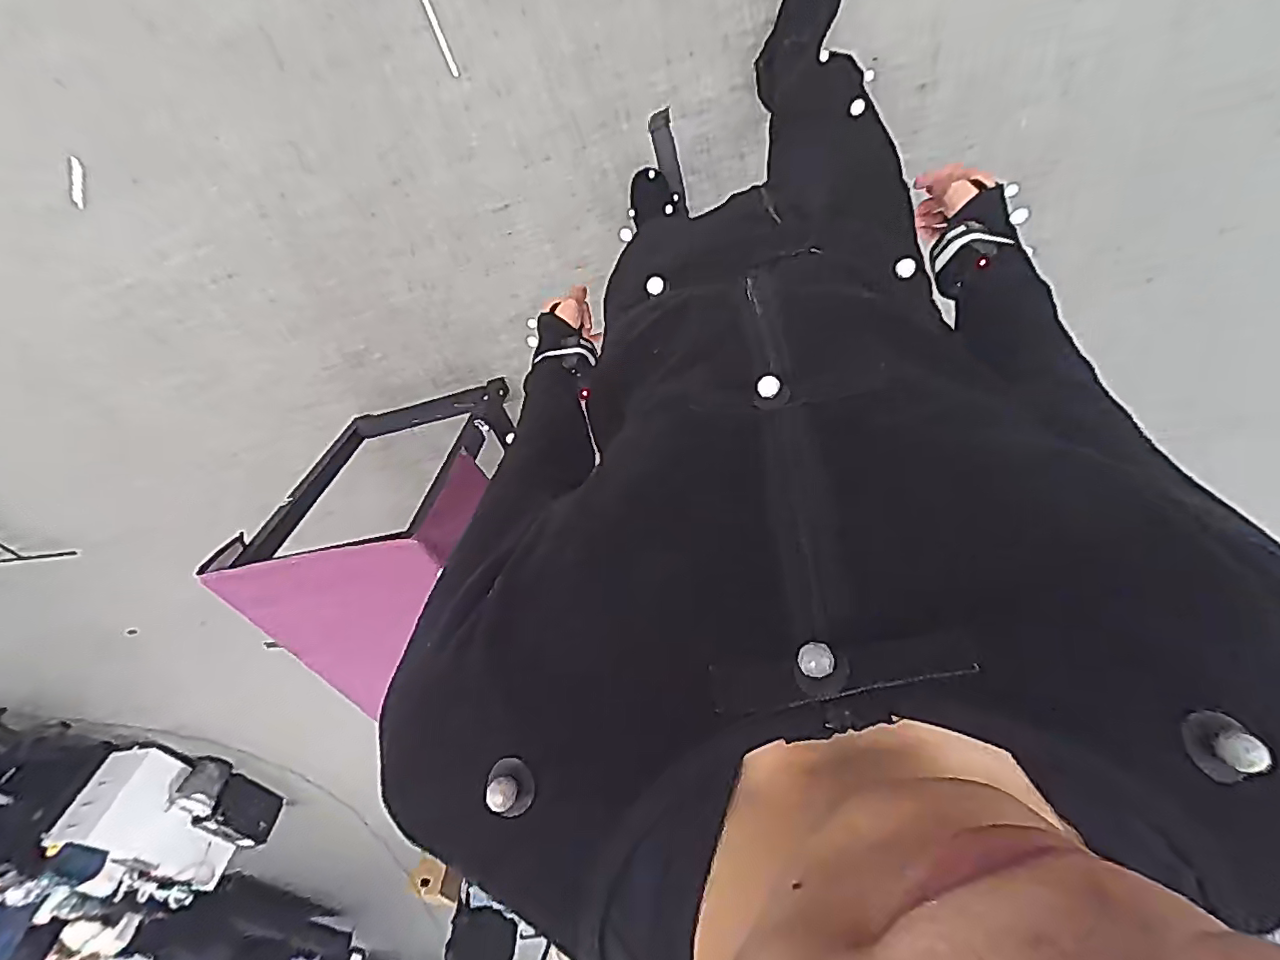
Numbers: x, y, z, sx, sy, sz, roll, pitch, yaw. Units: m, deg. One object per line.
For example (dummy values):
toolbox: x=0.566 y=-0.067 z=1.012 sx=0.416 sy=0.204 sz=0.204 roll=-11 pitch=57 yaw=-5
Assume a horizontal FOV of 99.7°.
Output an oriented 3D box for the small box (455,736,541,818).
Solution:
small box: x=-0.432 y=0.919 z=1.675 sx=0.179 sy=0.176 sz=0.168 roll=-19 pitch=126 yaw=19
